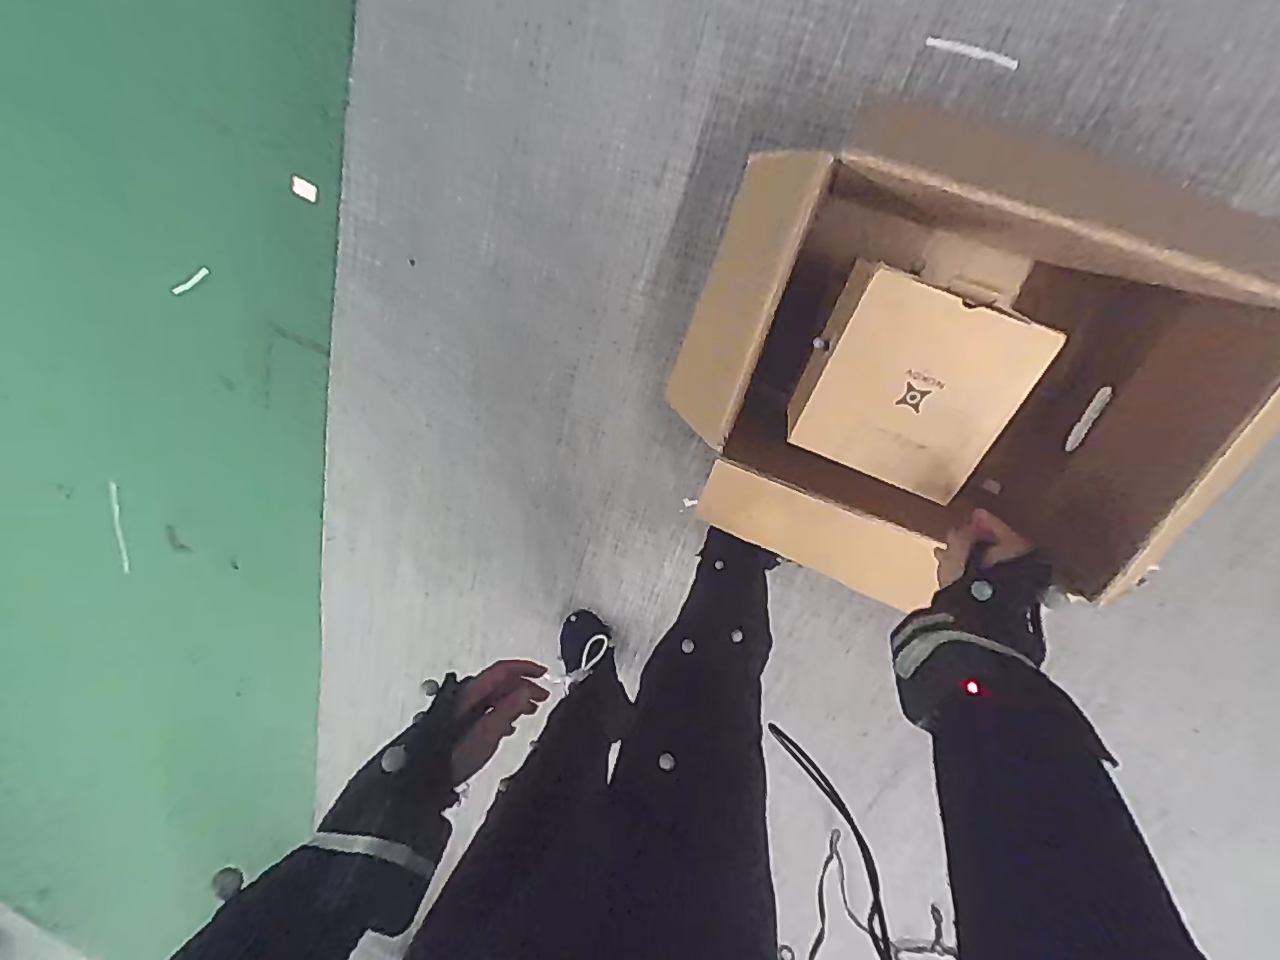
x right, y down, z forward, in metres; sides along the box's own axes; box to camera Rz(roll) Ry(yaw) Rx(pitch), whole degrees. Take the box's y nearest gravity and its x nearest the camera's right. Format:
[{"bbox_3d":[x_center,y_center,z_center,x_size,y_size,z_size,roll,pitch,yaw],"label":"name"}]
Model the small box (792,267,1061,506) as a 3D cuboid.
[{"bbox_3d":[0.268,-0.108,0.564,0.168,0.176,0.179,24,118,3],"label":"small box"}]
